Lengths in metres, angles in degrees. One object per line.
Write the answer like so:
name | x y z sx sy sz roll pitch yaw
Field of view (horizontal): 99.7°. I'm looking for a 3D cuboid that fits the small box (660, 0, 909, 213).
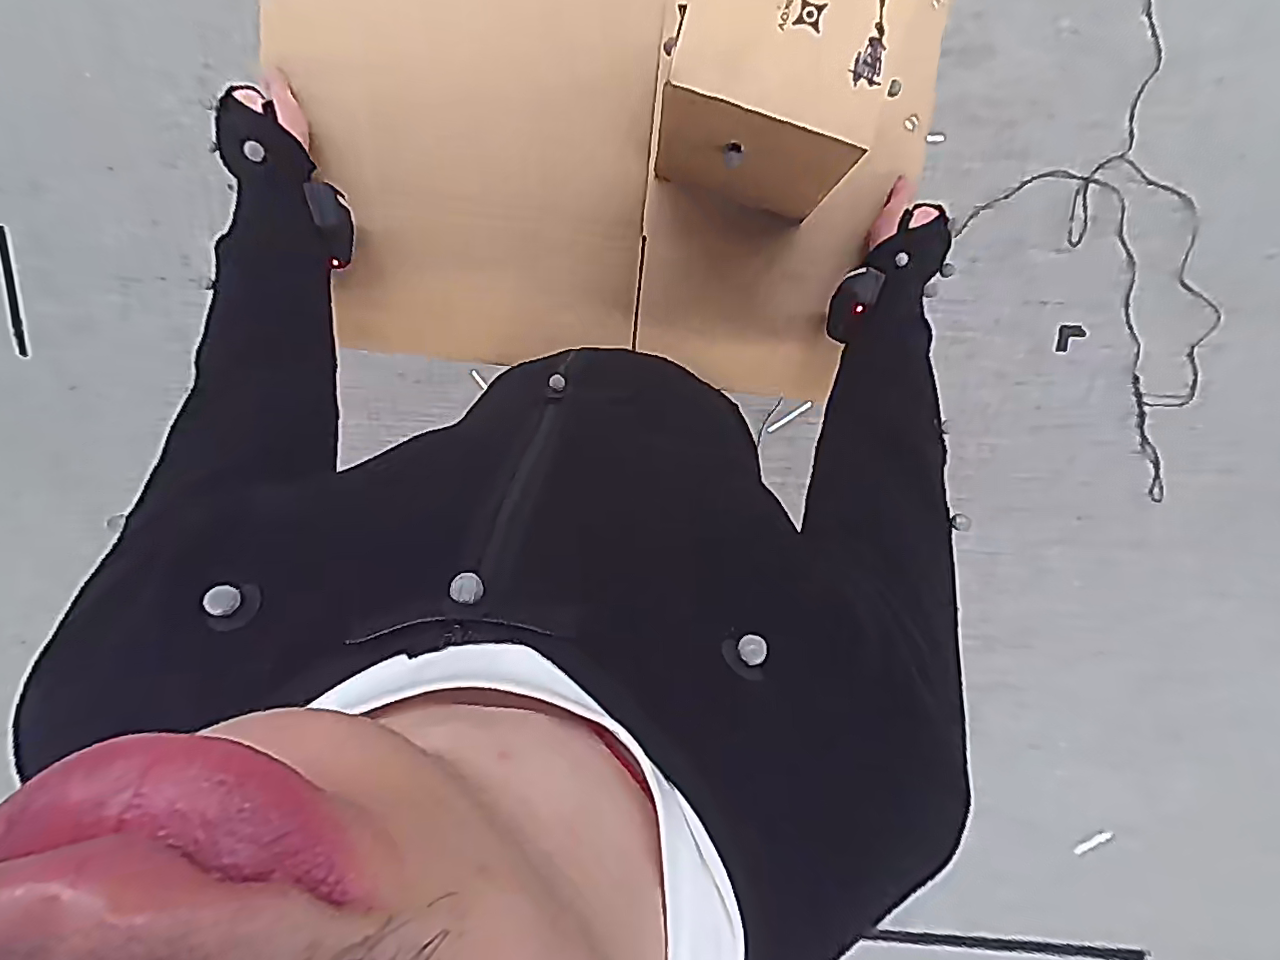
small box | 0.122 -0.382 0.512 0.179 0.176 0.168 16 97 -3
